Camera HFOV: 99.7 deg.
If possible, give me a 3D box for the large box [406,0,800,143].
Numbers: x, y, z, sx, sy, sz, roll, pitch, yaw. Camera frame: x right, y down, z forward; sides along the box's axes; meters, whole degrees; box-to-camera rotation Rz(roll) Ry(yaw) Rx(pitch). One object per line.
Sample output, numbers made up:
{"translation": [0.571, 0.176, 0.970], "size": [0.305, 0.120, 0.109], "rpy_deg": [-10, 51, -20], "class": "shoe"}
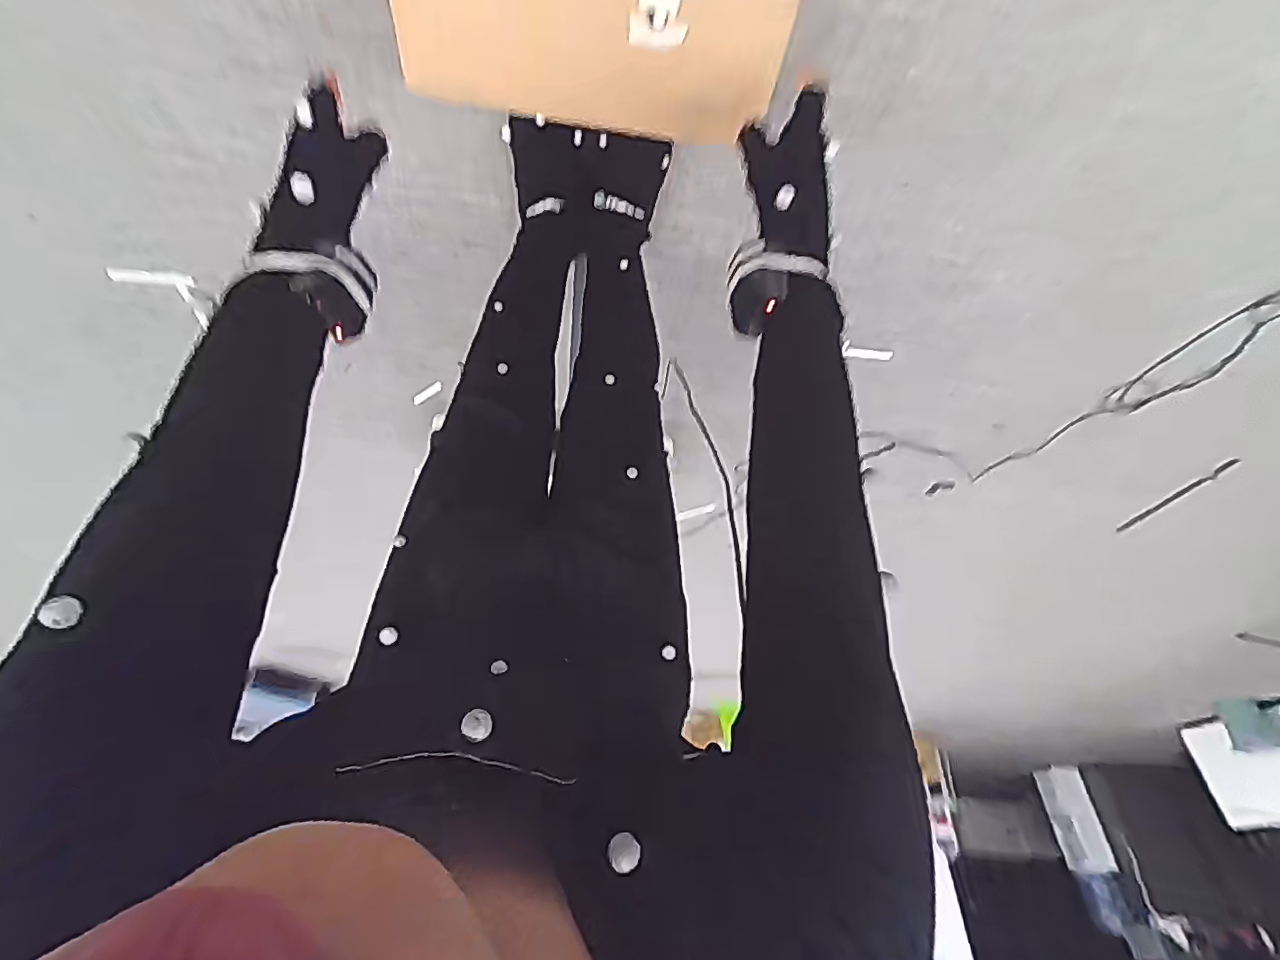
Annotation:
{"translation": [-0.034, -0.628, 0.603], "size": [0.408, 0.320, 0.320], "rpy_deg": [5, 143, -6], "class": "large box"}
